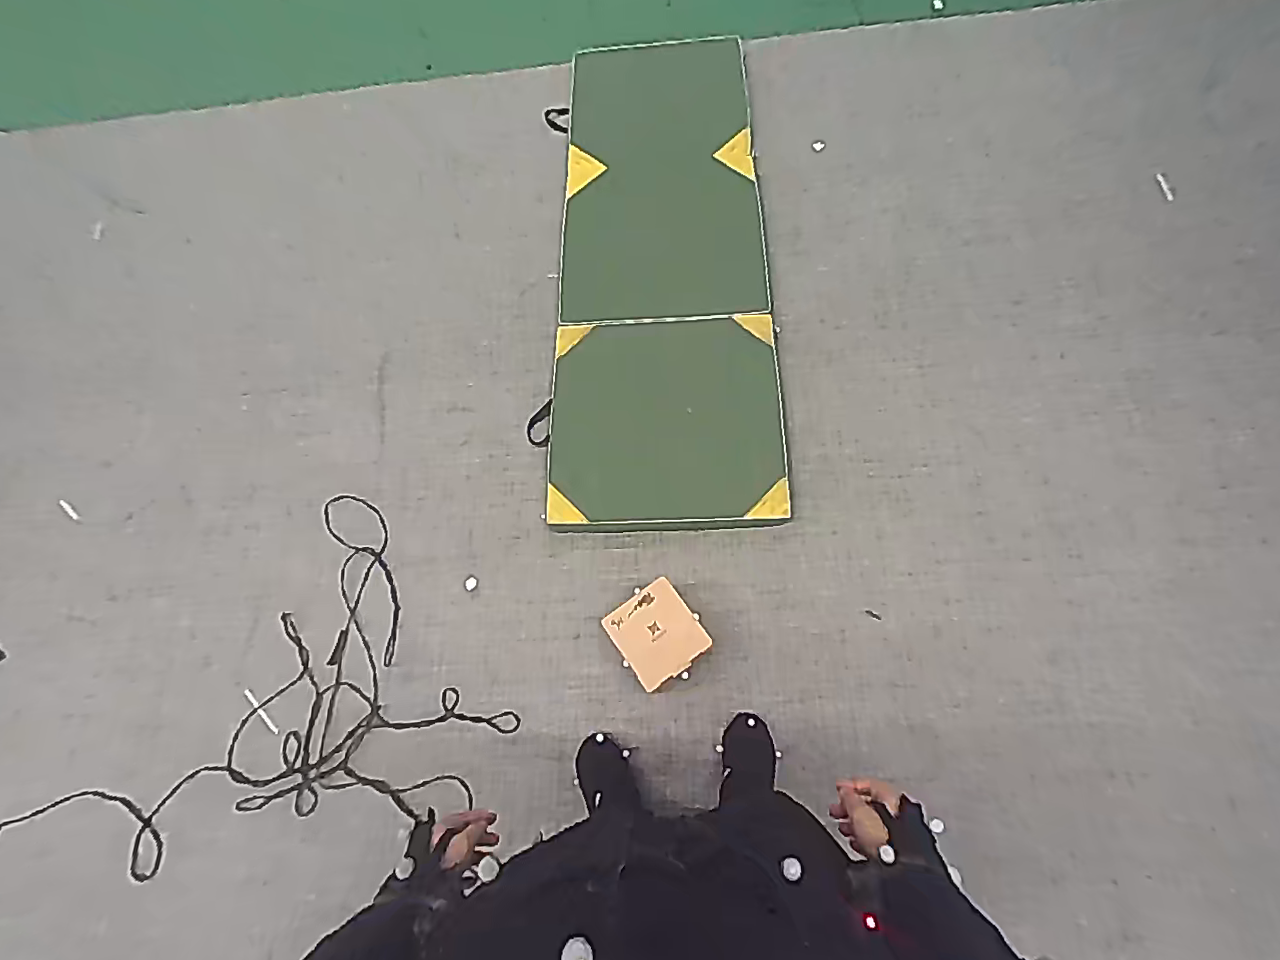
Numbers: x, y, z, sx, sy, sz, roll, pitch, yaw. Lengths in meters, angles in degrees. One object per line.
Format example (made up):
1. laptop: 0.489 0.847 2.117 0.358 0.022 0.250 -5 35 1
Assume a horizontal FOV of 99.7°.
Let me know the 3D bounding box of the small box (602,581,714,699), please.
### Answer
1. small box: 0.042 0.347 1.168 0.168 0.176 0.179 -34 69 -9
